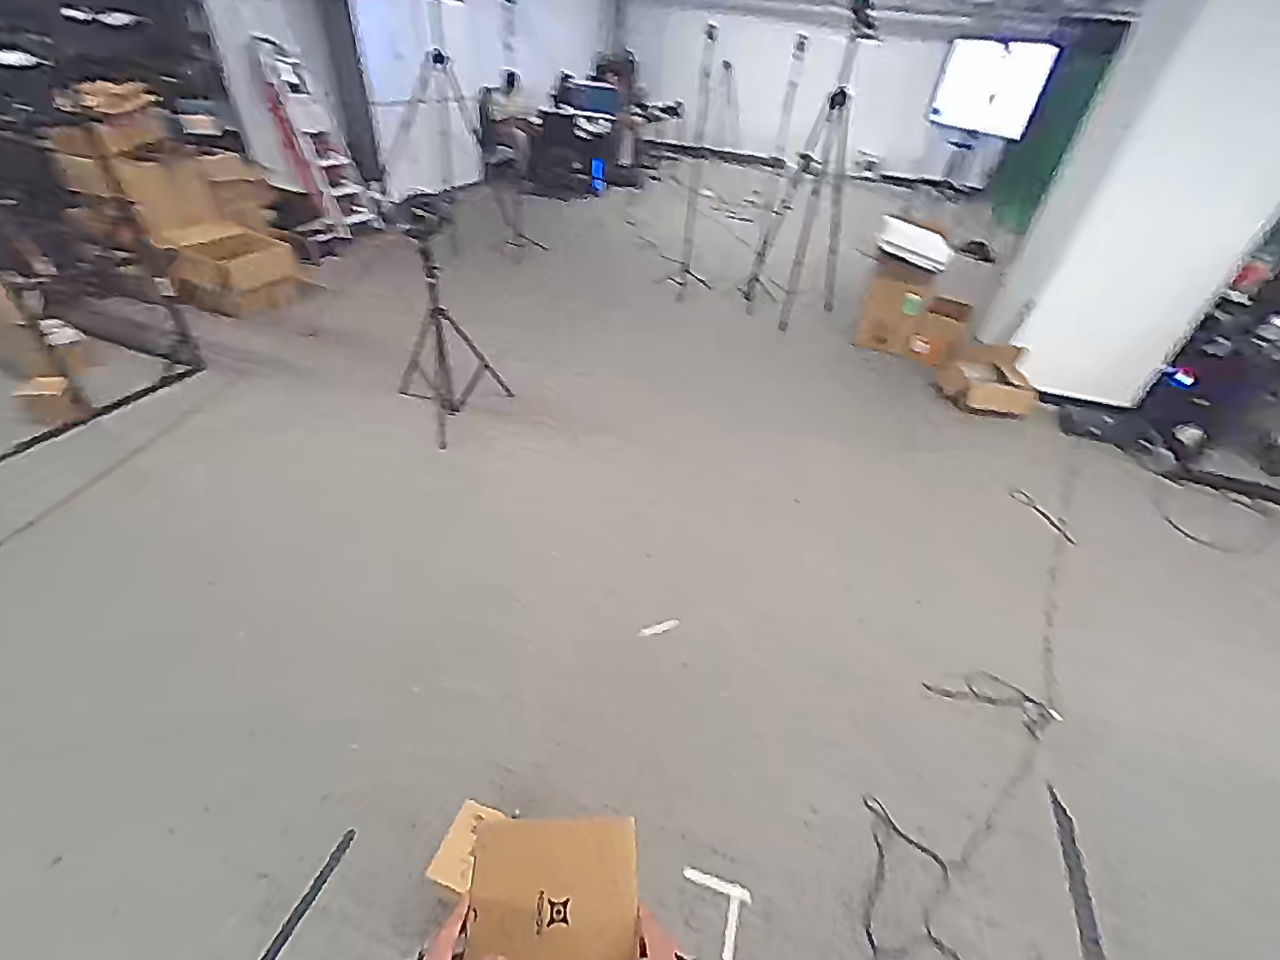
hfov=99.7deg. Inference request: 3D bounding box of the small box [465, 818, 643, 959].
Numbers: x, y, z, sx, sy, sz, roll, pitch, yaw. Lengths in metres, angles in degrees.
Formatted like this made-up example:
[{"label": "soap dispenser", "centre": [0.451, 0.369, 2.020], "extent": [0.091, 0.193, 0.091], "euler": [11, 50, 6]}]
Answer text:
[{"label": "small box", "centre": [-0.094, 0.487, 0.614], "extent": [0.179, 0.176, 0.168], "euler": [3, 52, -6]}]
